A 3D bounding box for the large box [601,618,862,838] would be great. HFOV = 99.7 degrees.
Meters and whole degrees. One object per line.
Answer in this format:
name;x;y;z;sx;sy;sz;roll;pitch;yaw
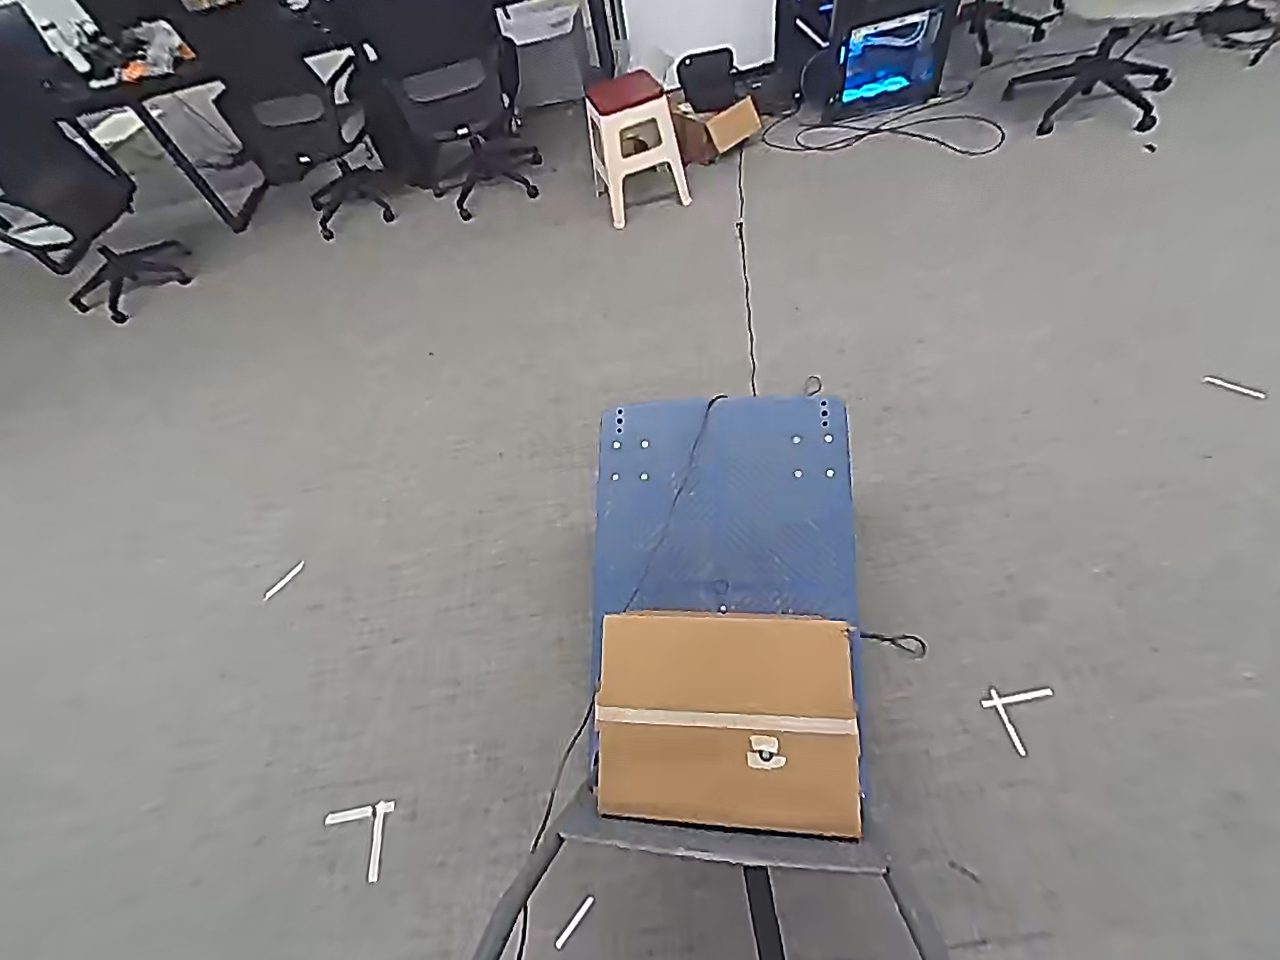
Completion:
large box;0.156;0.417;1.002;0.408;0.320;0.320;-1;79;9
